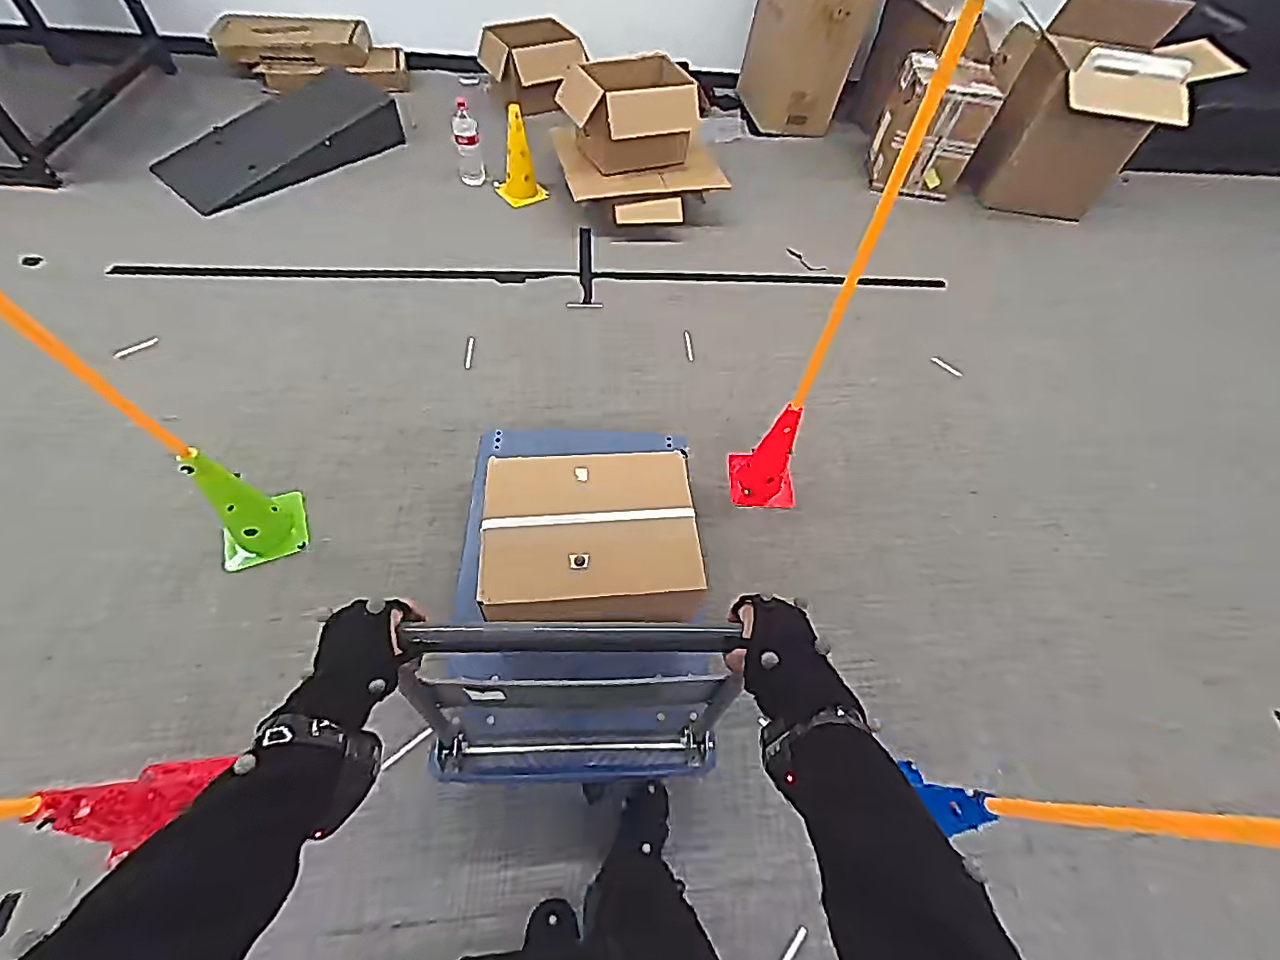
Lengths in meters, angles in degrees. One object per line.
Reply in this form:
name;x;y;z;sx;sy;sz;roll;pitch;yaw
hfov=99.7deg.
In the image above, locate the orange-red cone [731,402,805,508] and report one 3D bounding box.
orange-red cone;0.402;-0.097;1.565;0.199;0.360;0.198;5;57;-4
